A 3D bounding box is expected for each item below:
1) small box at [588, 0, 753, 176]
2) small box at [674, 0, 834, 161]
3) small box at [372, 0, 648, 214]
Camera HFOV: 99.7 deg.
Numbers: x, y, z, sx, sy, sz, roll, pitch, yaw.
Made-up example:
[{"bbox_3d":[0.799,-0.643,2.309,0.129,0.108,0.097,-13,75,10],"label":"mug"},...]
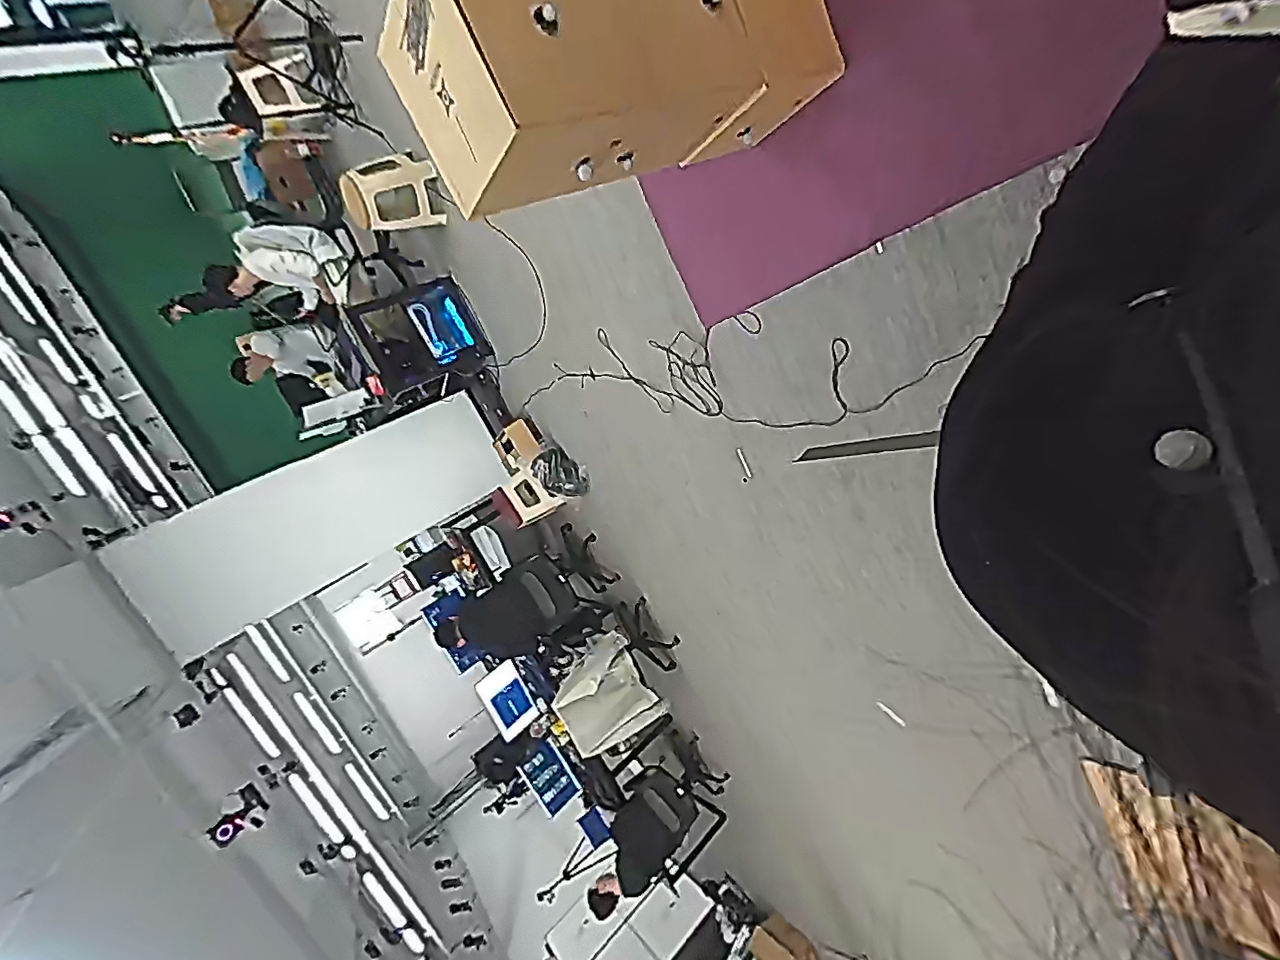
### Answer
[{"bbox_3d":[-0.007,-0.476,0.607,0.168,0.176,0.179,-6,113,58],"label":"small box"},{"bbox_3d":[0.115,-0.550,0.687,0.168,0.176,0.179,-5,114,58],"label":"small box"},{"bbox_3d":[-0.125,-0.395,0.523,0.168,0.176,0.179,-5,115,58],"label":"small box"}]
